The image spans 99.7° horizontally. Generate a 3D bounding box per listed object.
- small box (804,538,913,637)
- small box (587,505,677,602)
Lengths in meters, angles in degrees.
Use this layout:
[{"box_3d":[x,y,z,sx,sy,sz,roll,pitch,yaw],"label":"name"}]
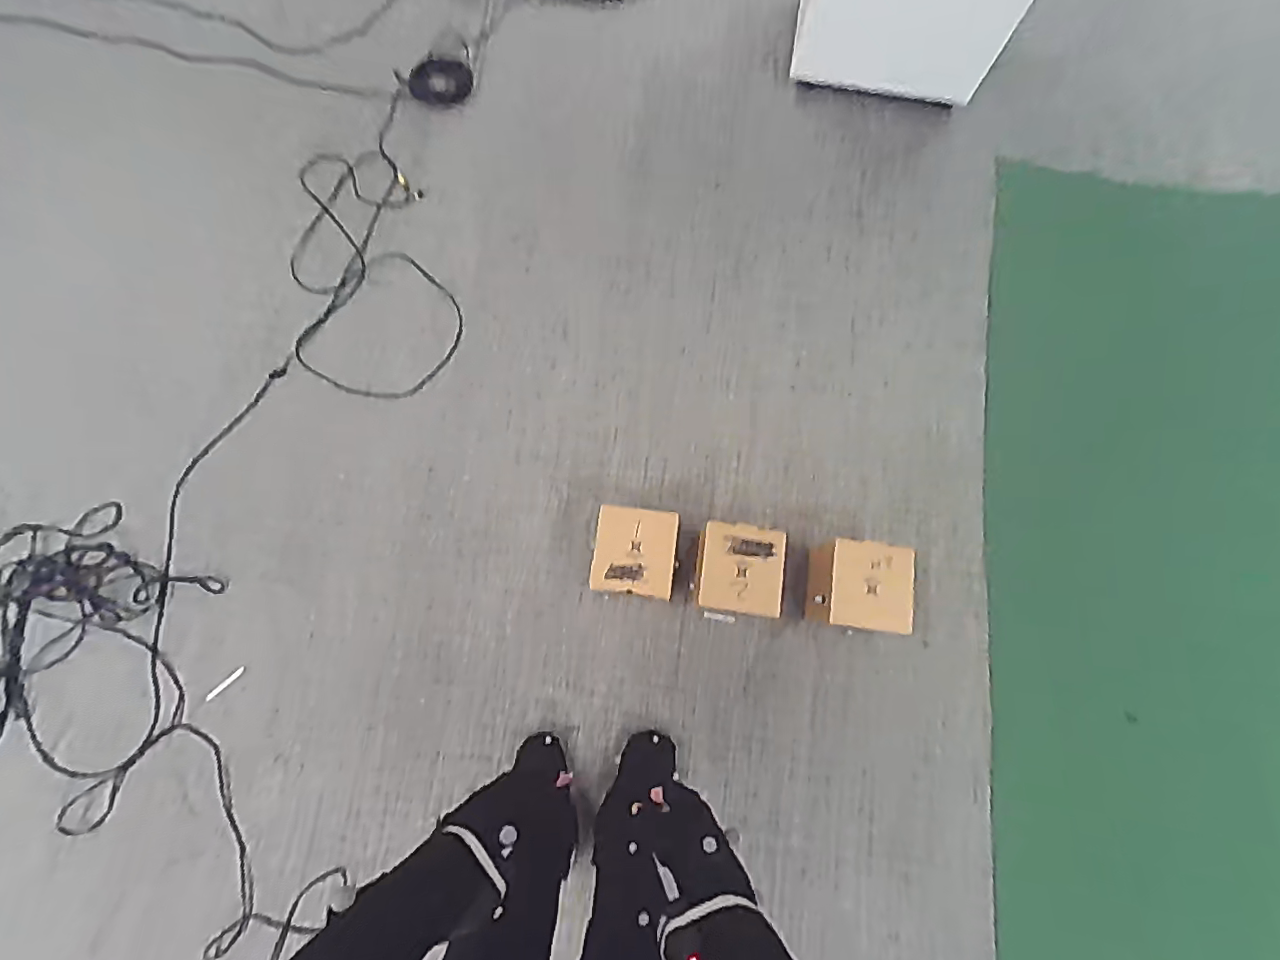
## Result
[{"box_3d":[0.462,0.233,1.163,0.168,0.176,0.179,9,76,1],"label":"small box"},{"box_3d":[-0.014,0.166,1.173,0.168,0.176,0.179,7,75,2],"label":"small box"}]
